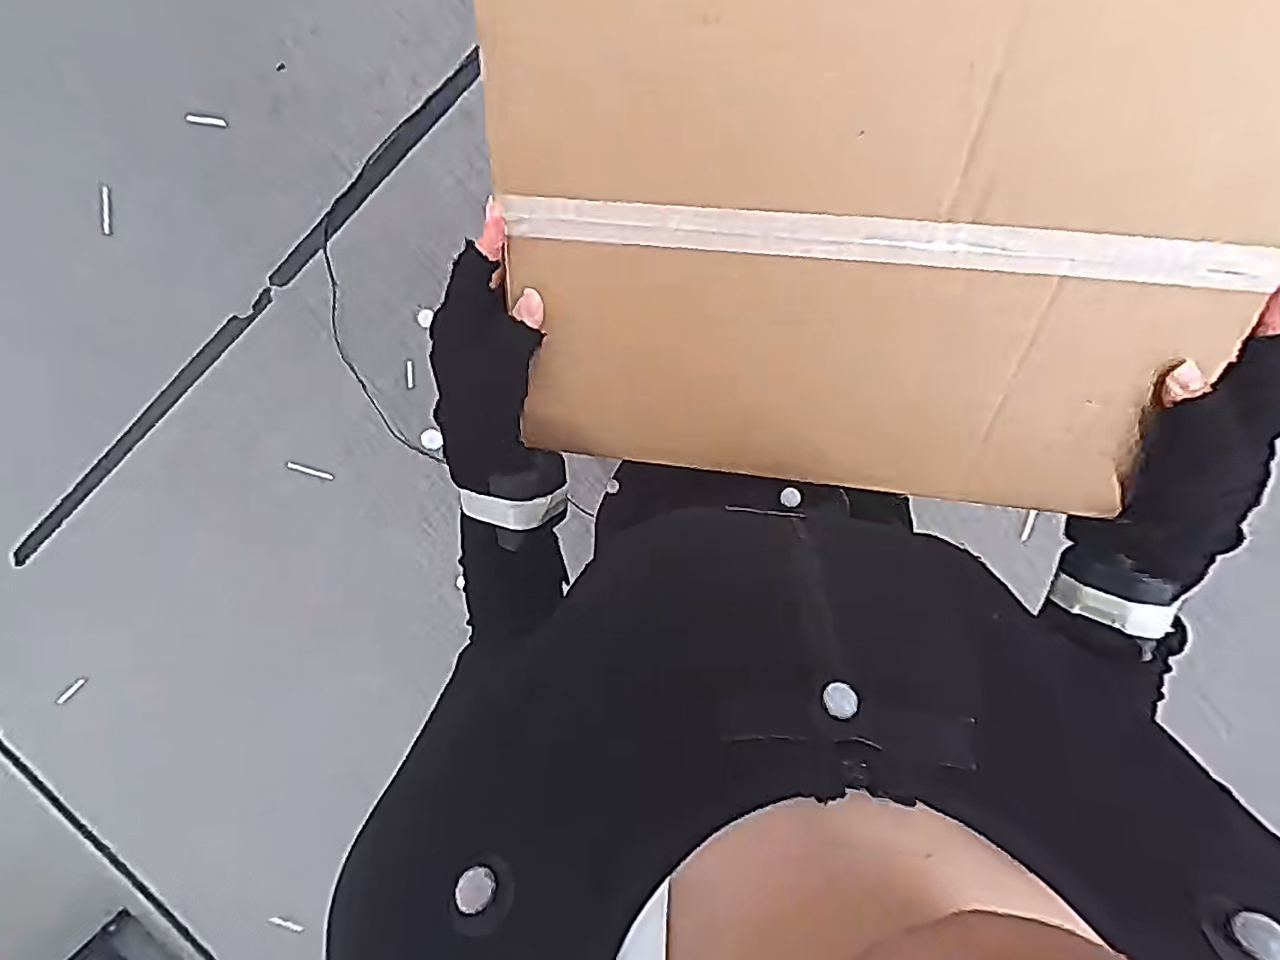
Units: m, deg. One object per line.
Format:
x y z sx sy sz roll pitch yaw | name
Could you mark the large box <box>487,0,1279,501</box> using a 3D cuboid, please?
0.138 -0.214 0.418 0.408 0.320 0.320 7 126 6 | large box
